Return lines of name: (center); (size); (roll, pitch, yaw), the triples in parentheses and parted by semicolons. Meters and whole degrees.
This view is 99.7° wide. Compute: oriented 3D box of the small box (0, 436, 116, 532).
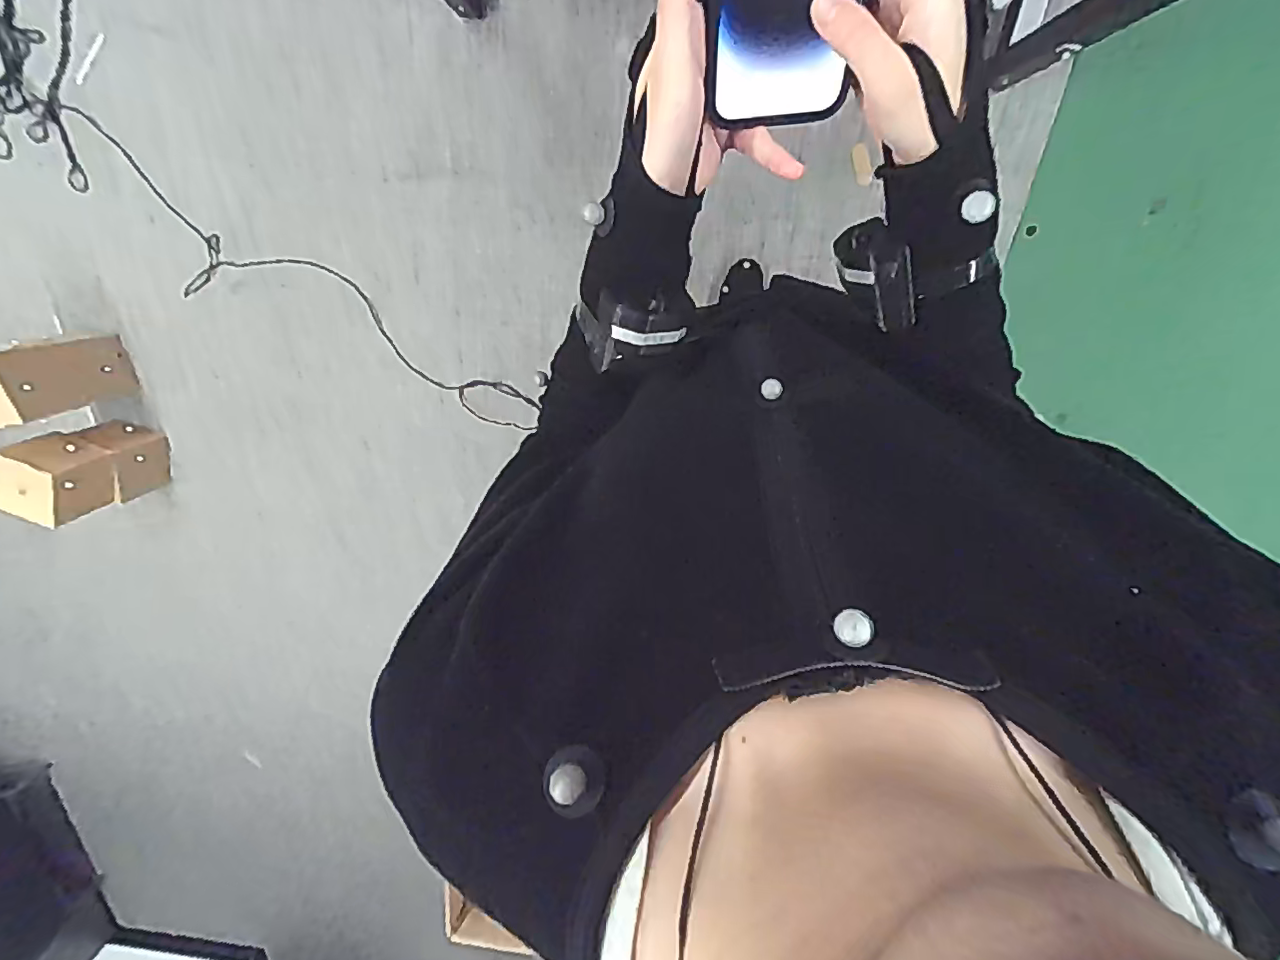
small box: (-1.590, 0.006, 1.474); (0.168, 0.176, 0.179); (23, 112, -4)

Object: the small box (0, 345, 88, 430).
small box: (-1.580, -0.234, 1.369); (0.168, 0.176, 0.179); (-4, 113, 6)

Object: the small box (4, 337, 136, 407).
small box: (-1.578, -0.306, 1.516); (0.179, 0.176, 0.168); (1, 113, 6)
